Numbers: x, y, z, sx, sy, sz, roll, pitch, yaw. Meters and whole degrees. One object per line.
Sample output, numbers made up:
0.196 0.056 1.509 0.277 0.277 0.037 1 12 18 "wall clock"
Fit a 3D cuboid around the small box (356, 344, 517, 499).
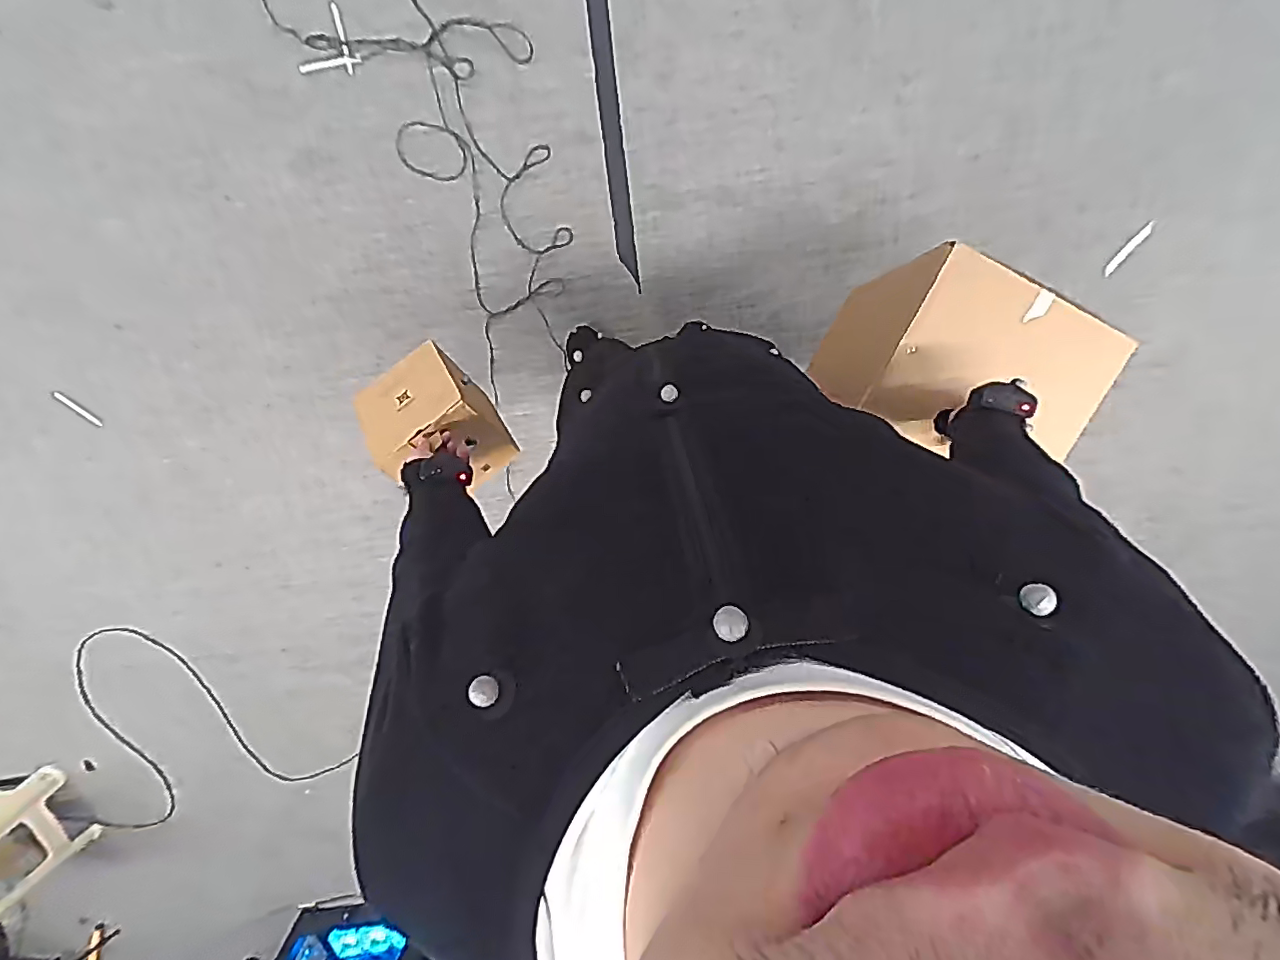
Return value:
-0.338 -0.088 0.918 0.168 0.179 0.176 -37 146 -1 "small box"
